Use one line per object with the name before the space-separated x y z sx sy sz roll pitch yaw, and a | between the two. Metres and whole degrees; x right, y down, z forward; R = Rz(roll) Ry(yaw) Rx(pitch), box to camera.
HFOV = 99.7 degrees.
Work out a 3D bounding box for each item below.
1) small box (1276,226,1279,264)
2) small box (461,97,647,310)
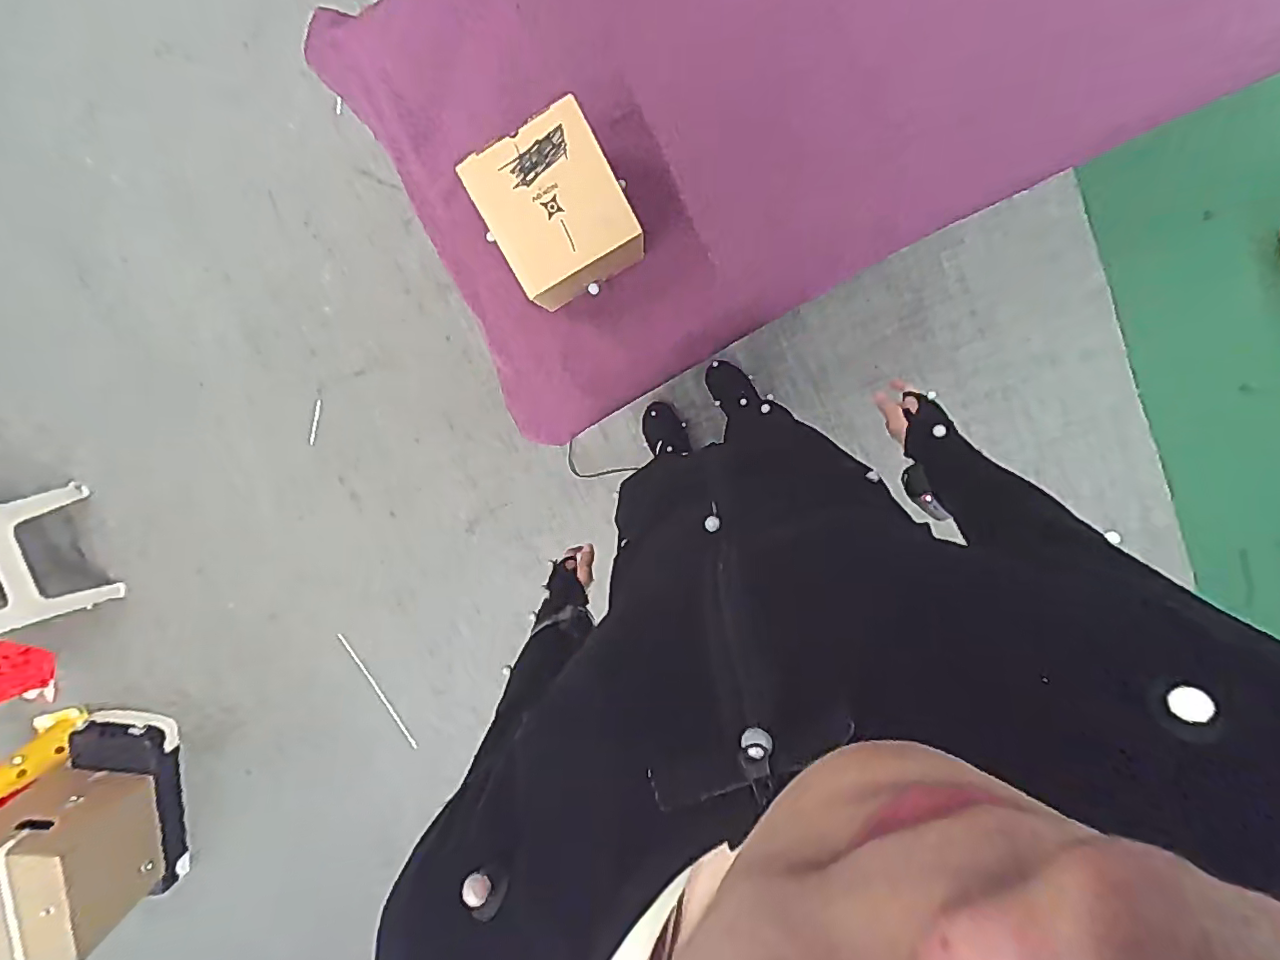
small box | 1.815 -0.629 1.392 0.179 0.176 0.168 -25 100 5
small box | -0.103 -0.350 0.726 0.168 0.176 0.179 -28 101 6
